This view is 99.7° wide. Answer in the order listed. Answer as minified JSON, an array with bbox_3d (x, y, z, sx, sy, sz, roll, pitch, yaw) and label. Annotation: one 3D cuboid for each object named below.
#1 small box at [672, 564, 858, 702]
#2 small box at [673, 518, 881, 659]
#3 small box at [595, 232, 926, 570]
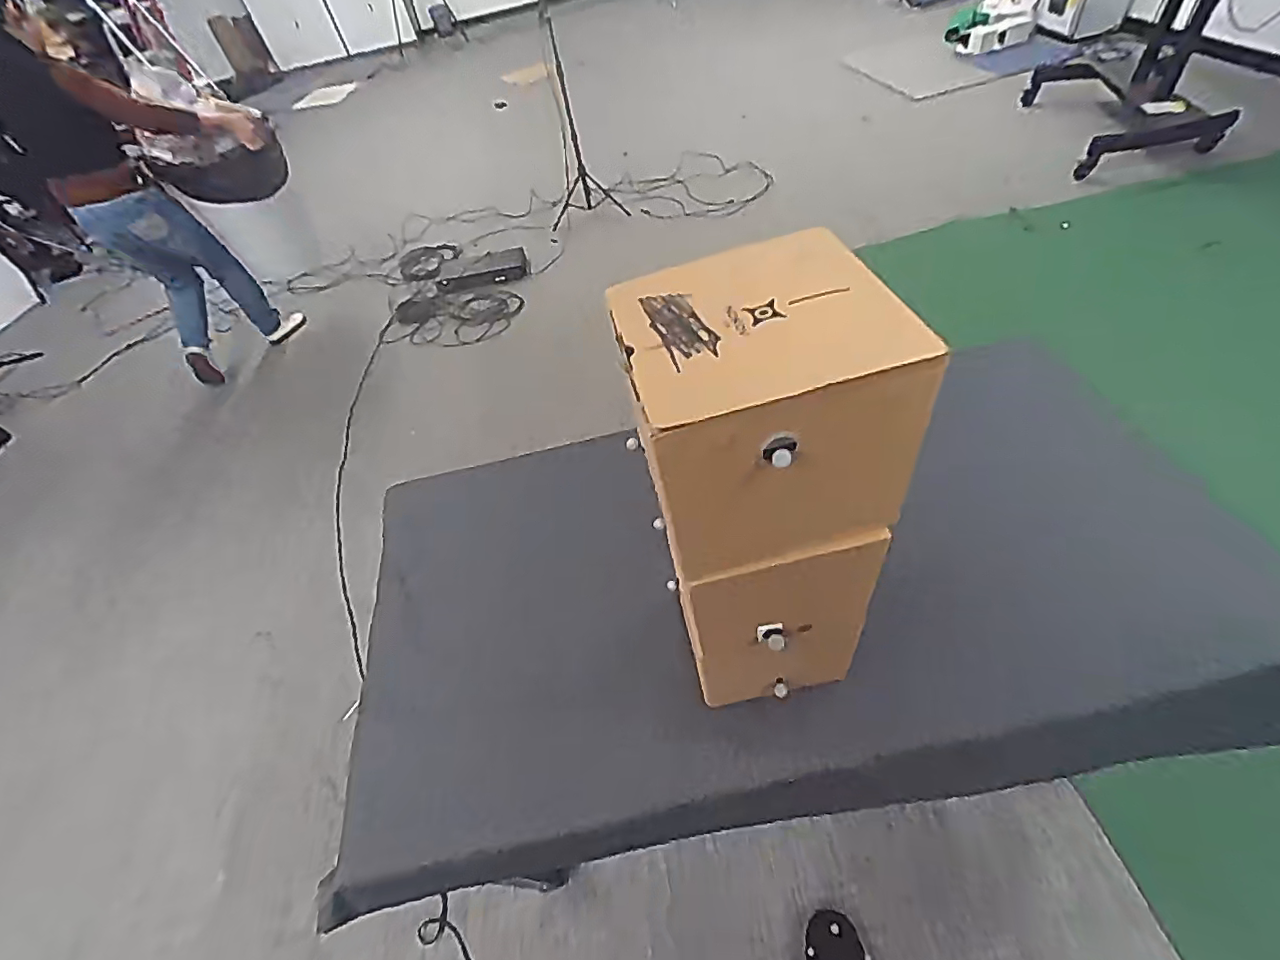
[{"bbox_3d":[0.138,0.152,0.661,0.179,0.176,0.168,-13,49,1],"label":"small box"},{"bbox_3d":[0.110,0.051,0.537,0.168,0.176,0.179,-15,51,2],"label":"small box"},{"bbox_3d":[0.079,-0.053,0.413,0.179,0.176,0.168,-15,50,1],"label":"small box"}]
